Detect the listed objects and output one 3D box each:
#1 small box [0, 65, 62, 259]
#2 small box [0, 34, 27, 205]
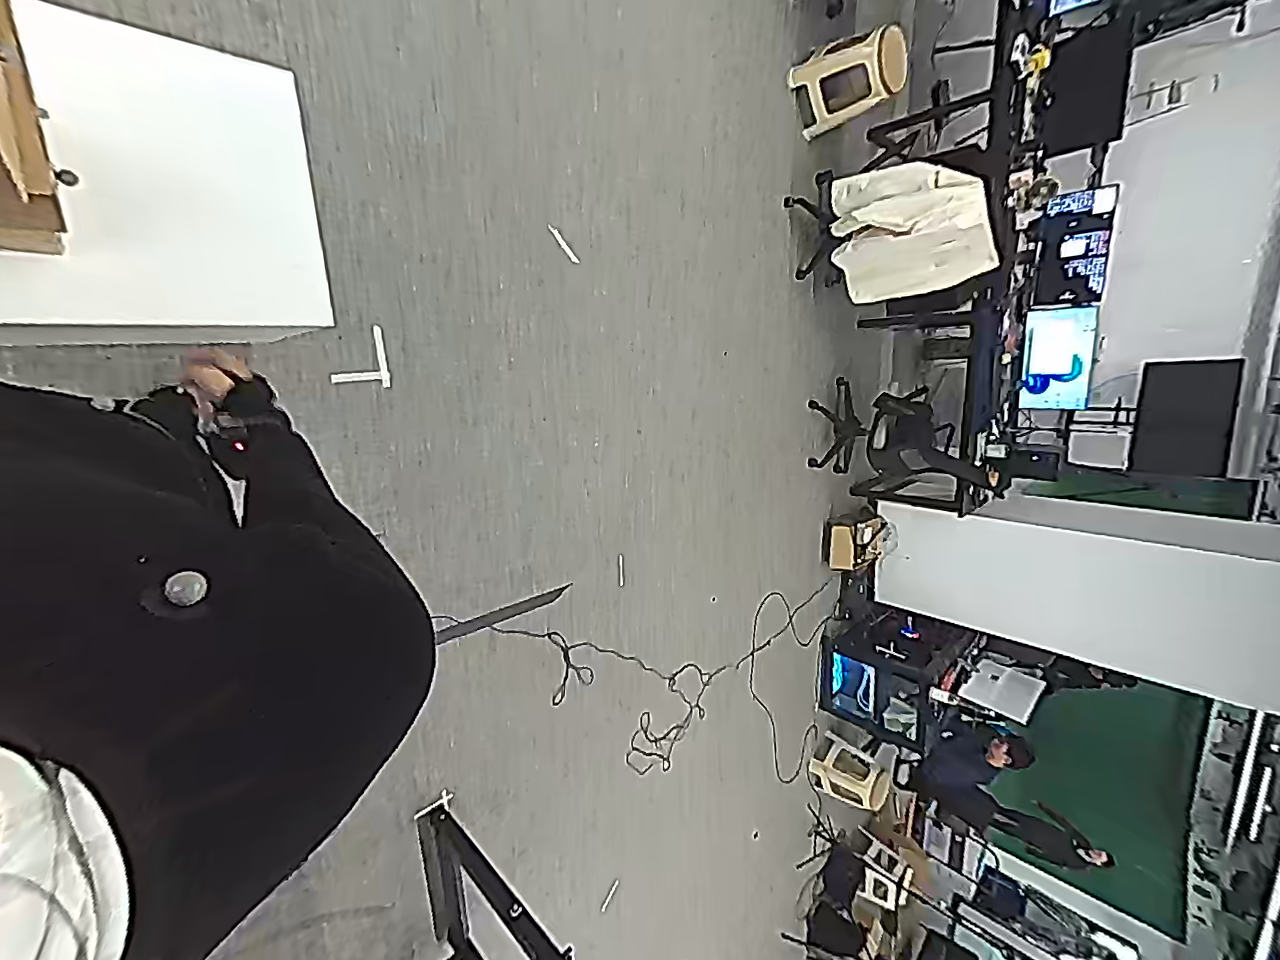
[{"bbox_3d":[-0.777,-0.353,0.596,0.168,0.176,0.179,-14,106,-43],"label":"small box"},{"bbox_3d":[-0.552,-0.307,0.360,0.168,0.176,0.179,-9,102,-43],"label":"small box"}]
